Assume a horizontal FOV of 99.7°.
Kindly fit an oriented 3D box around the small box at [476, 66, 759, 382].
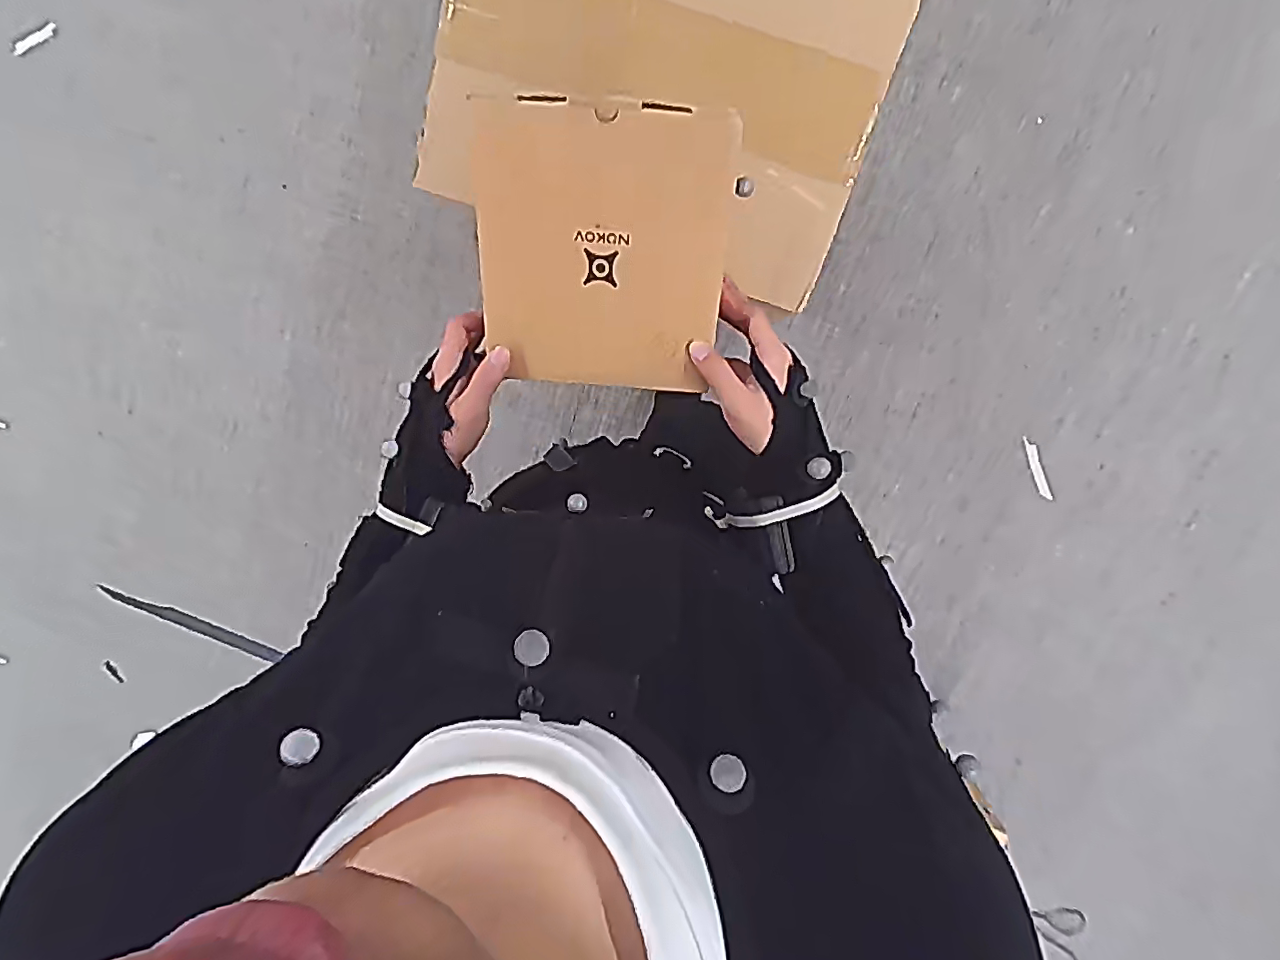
[{"bbox_3d":[-0.014,-0.192,0.416,0.168,0.176,0.179,5,119,0],"label":"small box"}]
